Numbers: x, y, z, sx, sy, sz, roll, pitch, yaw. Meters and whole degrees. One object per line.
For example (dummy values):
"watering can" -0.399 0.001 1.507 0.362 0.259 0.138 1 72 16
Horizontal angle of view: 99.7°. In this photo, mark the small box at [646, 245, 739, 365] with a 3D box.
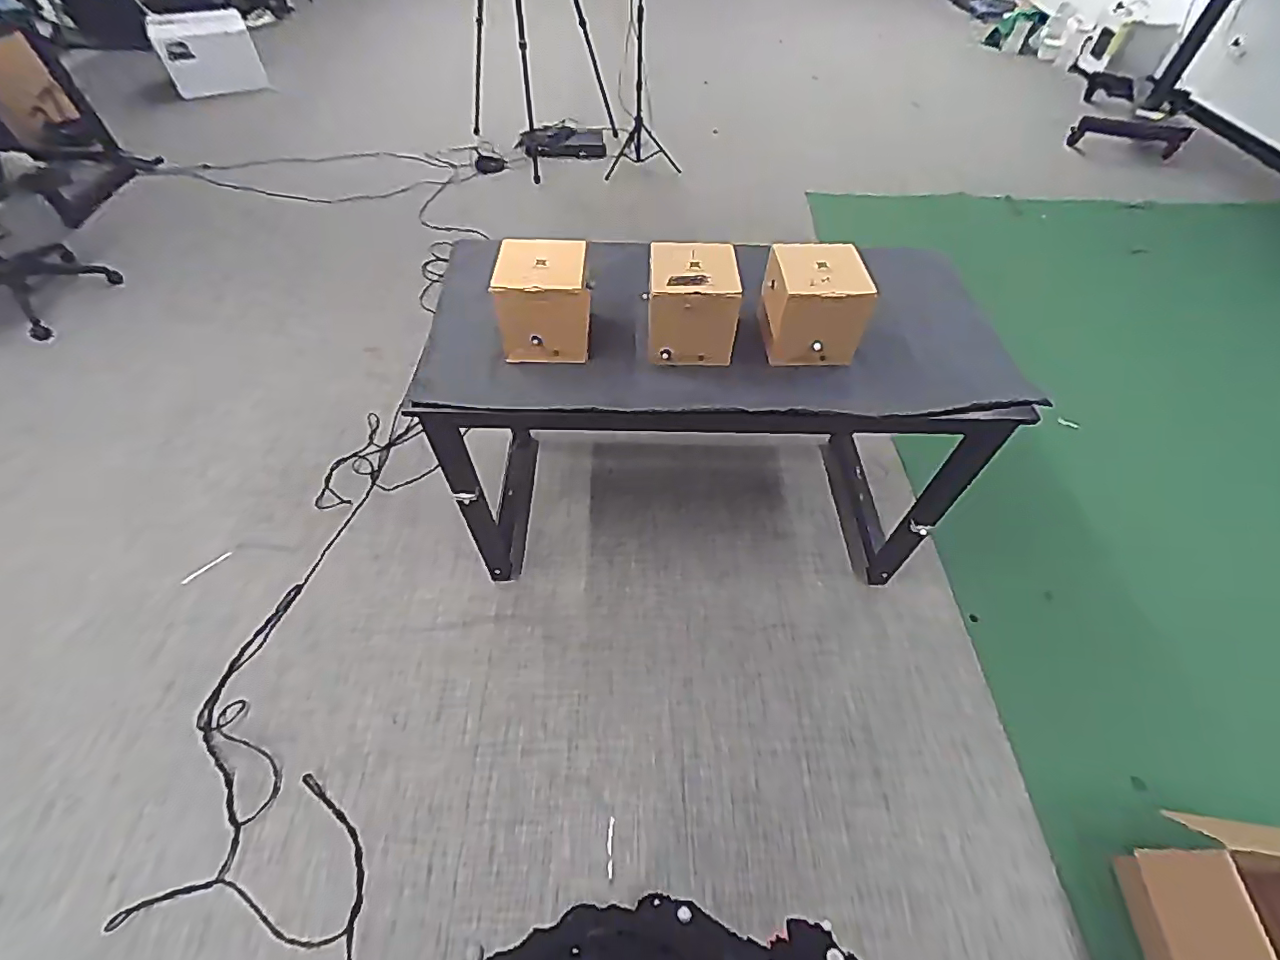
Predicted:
"small box" 0.098 -0.348 1.084 0.168 0.176 0.179 1 52 -1

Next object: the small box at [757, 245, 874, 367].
"small box" 0.341 -0.350 1.091 0.168 0.176 0.179 -1 53 -2

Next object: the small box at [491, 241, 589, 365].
"small box" -0.189 -0.352 1.079 0.168 0.176 0.179 0 52 -2
